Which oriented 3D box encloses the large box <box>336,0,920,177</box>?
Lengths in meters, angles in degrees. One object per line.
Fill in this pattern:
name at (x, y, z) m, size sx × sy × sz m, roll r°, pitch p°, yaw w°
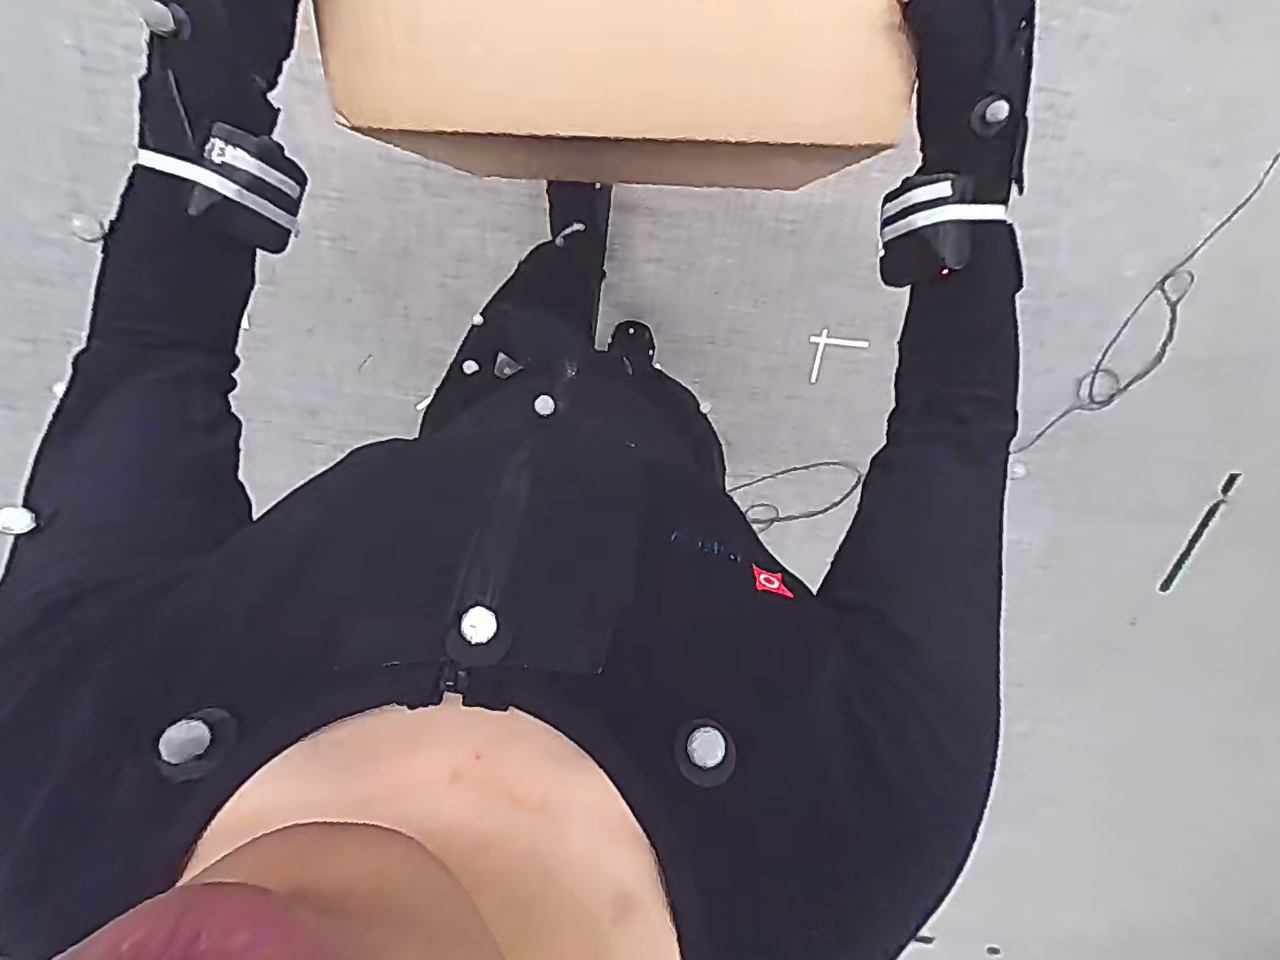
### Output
large box at (-0.006, -0.458, 0.469) m, size 0.408 × 0.320 × 0.320 m, roll 2°, pitch 114°, yaw 0°
